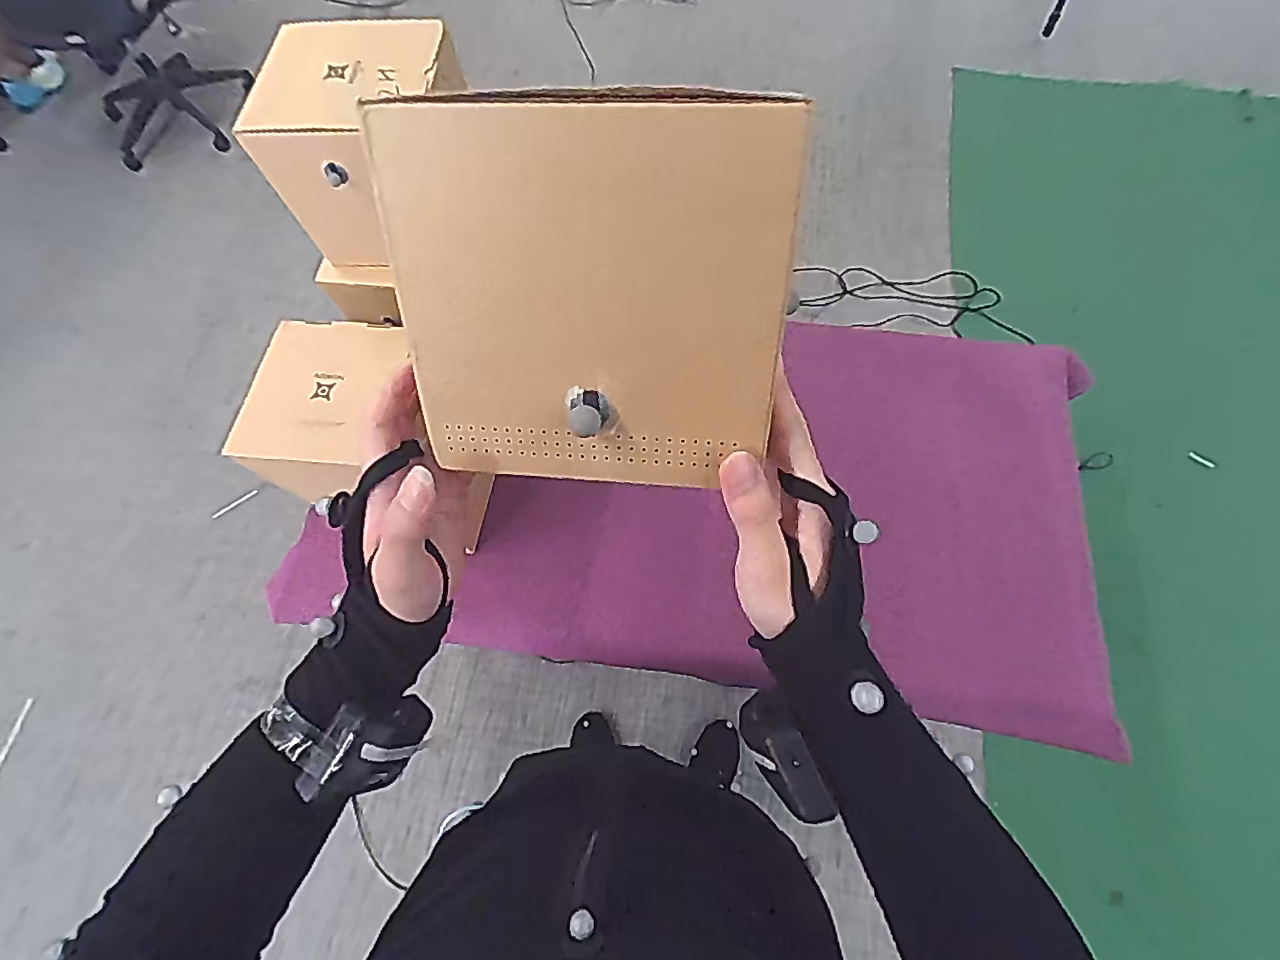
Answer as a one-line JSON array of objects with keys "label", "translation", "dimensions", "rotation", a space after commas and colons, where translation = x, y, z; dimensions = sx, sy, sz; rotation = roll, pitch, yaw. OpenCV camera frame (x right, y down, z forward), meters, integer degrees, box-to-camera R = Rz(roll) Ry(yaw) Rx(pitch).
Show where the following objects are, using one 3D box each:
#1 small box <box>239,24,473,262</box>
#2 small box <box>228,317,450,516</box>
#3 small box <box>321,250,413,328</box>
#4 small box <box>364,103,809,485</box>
[{"label": "small box", "translation": [-0.281, -0.362, 0.602], "dimensions": [0.179, 0.176, 0.168], "rotation": [2, 68, 2]}, {"label": "small box", "translation": [-0.337, -0.071, 0.661], "dimensions": [0.168, 0.176, 0.179], "rotation": [5, 68, 4]}, {"label": "small box", "translation": [-0.291, -0.278, 0.745], "dimensions": [0.168, 0.176, 0.179], "rotation": [5, 68, 4]}, {"label": "small box", "translation": [-0.013, -0.111, 0.312], "dimensions": [0.179, 0.176, 0.168], "rotation": [4, 32, 8]}]
